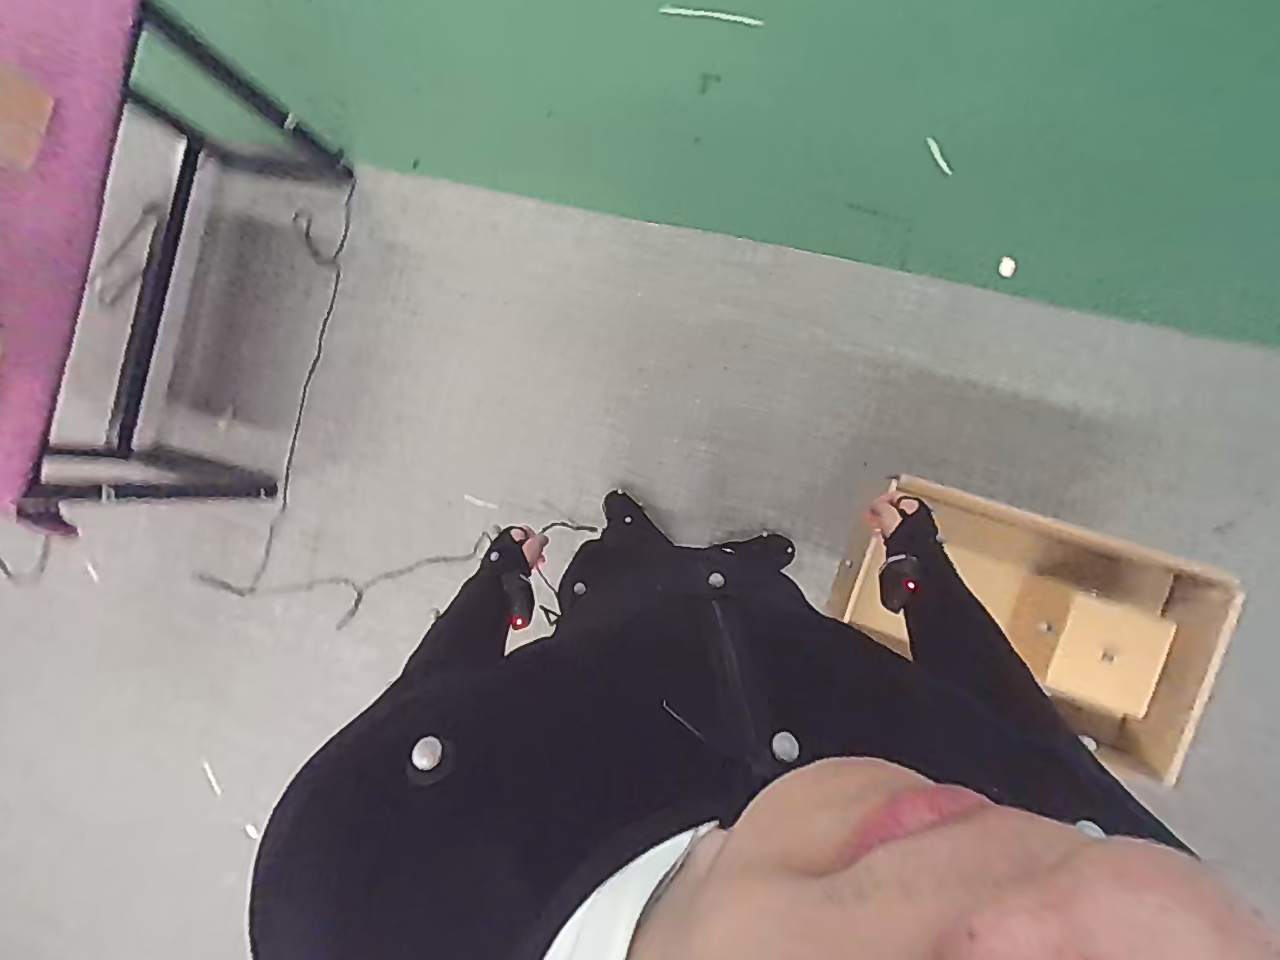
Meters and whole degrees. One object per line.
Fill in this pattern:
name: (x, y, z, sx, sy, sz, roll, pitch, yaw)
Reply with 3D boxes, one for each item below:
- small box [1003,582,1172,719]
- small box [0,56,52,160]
small box: (0.834, 0.313, 1.030, 0.168, 0.176, 0.179, 19, 92, 9)
small box: (-1.348, -0.783, 1.077, 0.168, 0.176, 0.179, 26, 93, 9)
